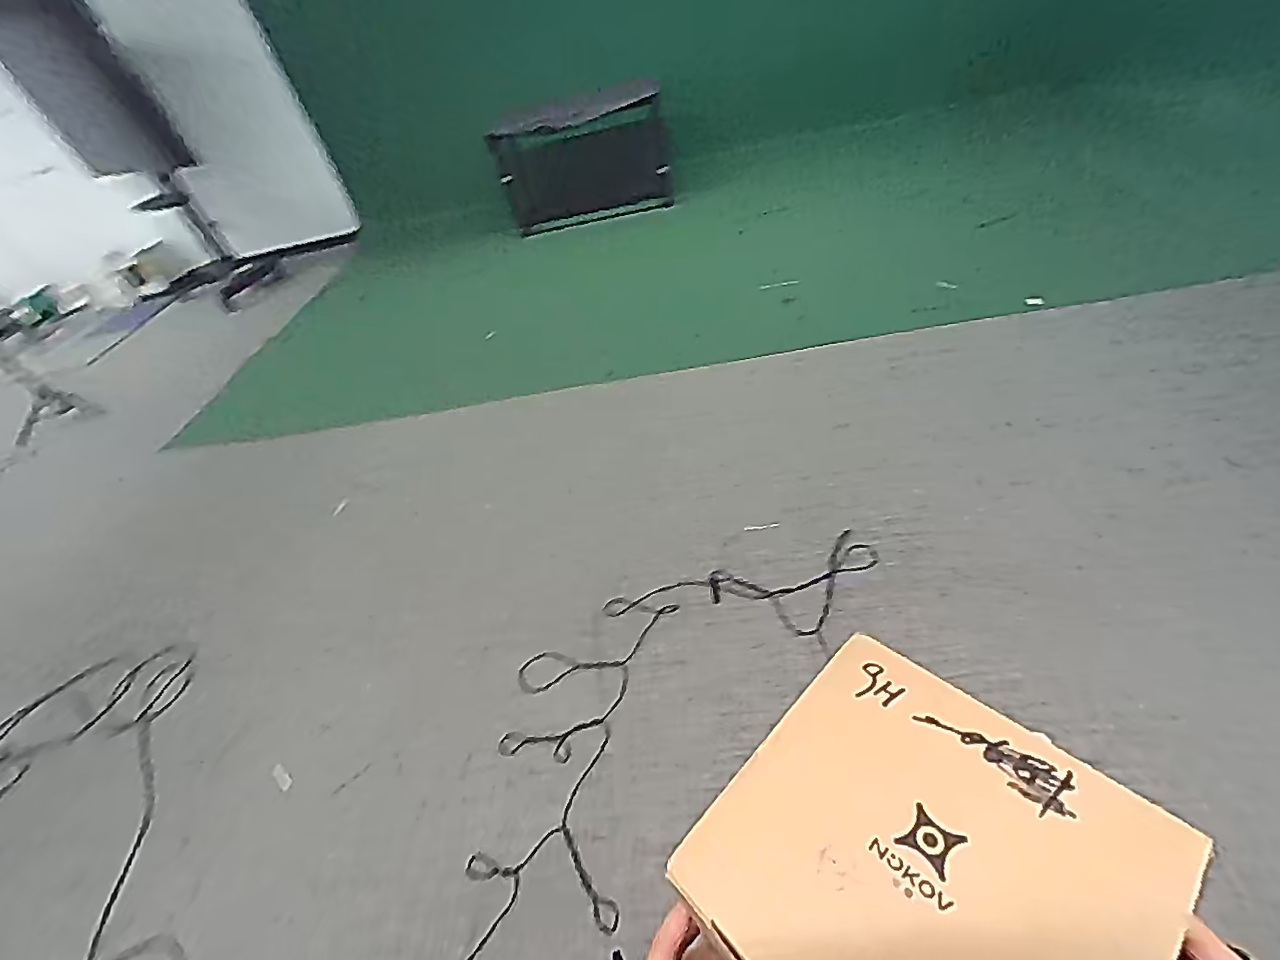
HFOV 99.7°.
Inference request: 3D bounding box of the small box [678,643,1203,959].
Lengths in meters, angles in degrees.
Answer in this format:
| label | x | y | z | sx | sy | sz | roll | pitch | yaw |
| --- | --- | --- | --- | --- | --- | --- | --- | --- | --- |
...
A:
| label | x | y | z | sx | sy | sz | roll | pitch | yaw |
| --- | --- | --- | --- | --- | --- | --- | --- | --- | --- |
| small box | 0.150 | 0.239 | 0.305 | 0.179 | 0.176 | 0.168 | -38 | 44 | -24 |
